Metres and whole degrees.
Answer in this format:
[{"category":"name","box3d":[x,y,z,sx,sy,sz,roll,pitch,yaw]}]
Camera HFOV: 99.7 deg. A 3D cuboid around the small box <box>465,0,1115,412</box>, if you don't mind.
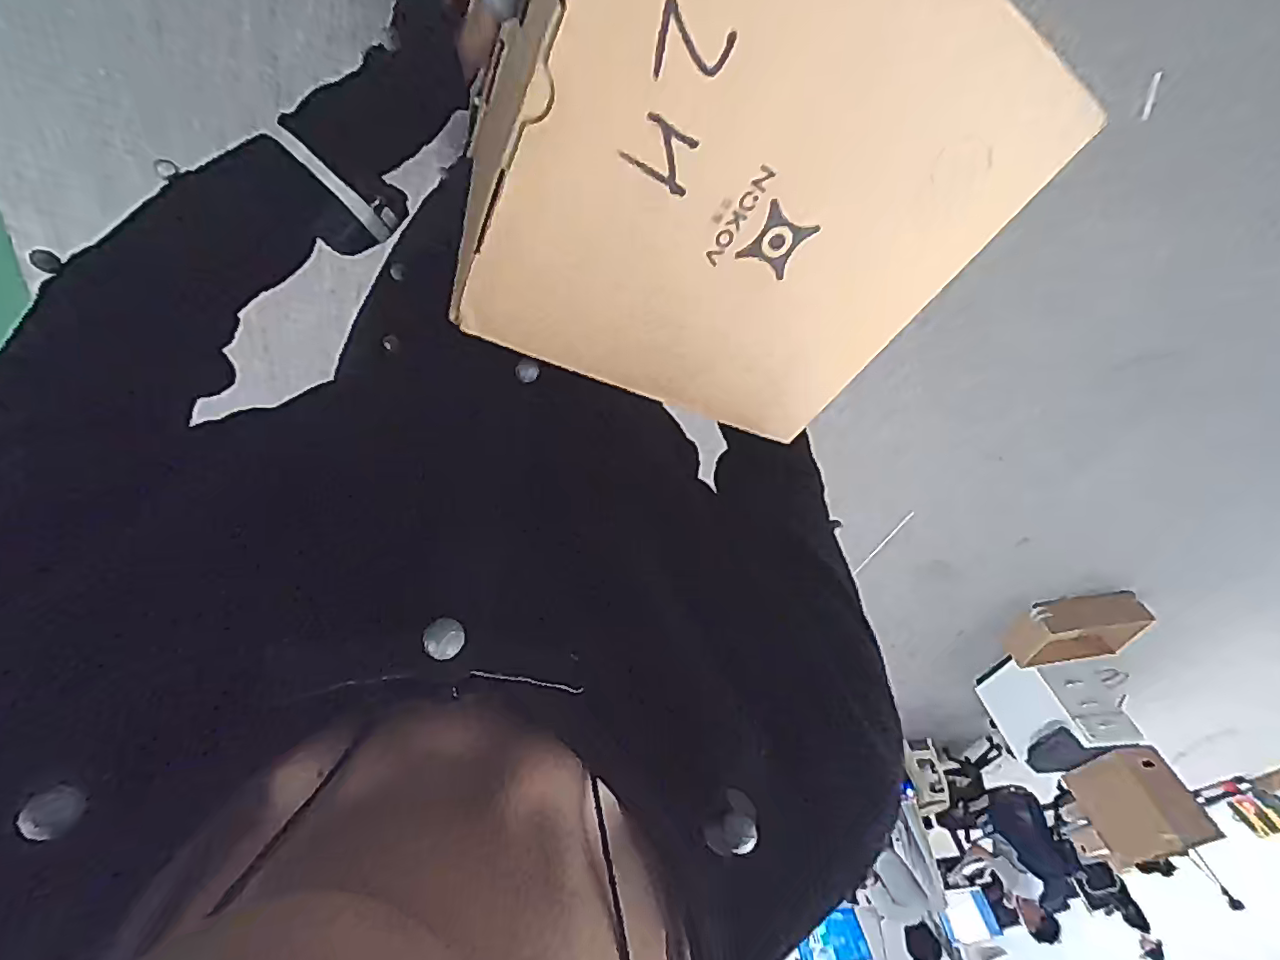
[{"category":"small box","box3d":[0.037,-0.164,0.243,0.179,0.176,0.168,16,132,-27]}]
